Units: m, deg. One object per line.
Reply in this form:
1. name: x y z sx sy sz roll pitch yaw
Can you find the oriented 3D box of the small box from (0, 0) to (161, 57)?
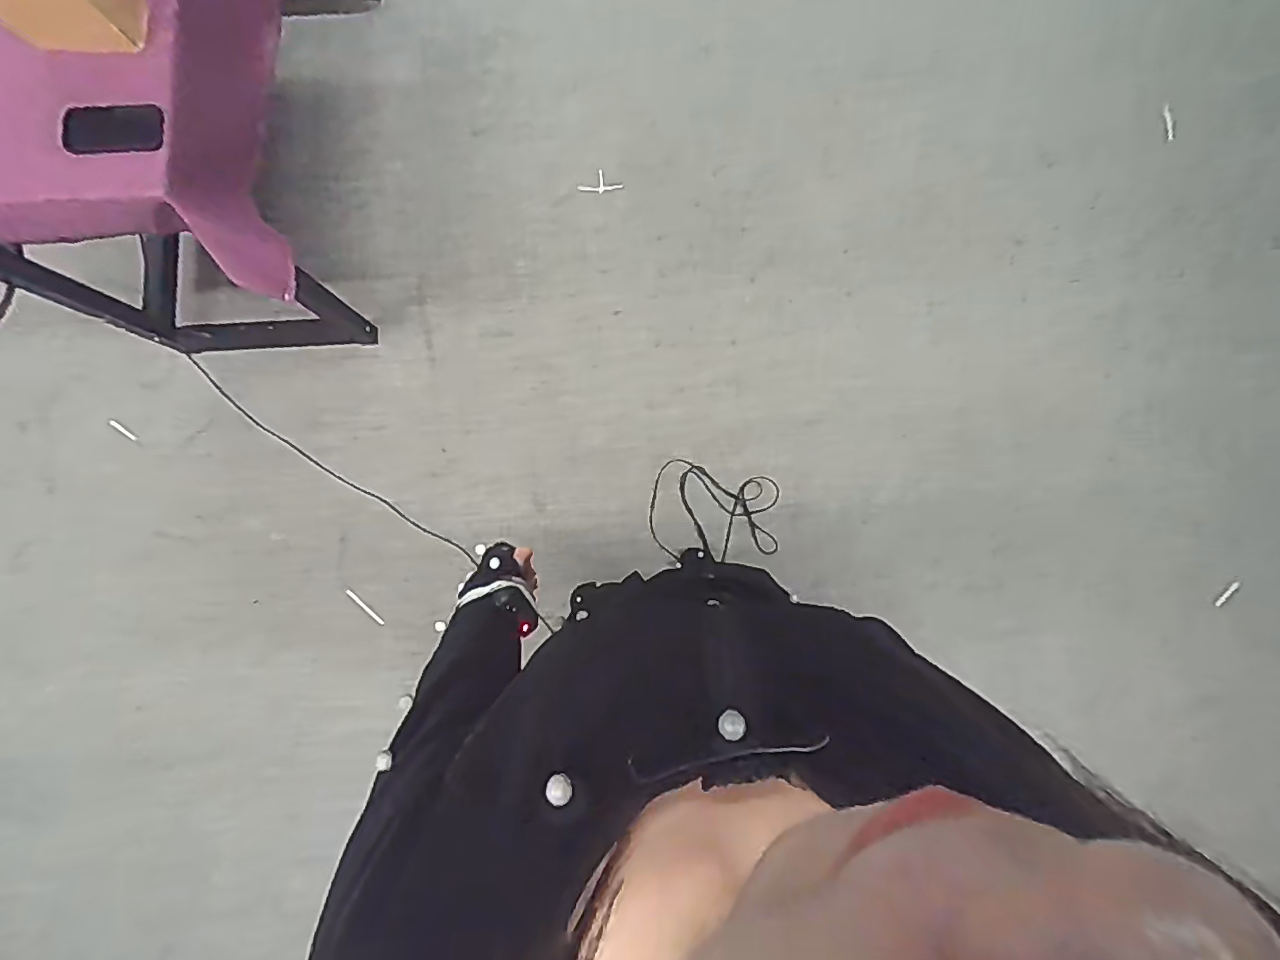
1. small box: -0.893 -0.791 0.826 0.179 0.176 0.168 2 83 0
